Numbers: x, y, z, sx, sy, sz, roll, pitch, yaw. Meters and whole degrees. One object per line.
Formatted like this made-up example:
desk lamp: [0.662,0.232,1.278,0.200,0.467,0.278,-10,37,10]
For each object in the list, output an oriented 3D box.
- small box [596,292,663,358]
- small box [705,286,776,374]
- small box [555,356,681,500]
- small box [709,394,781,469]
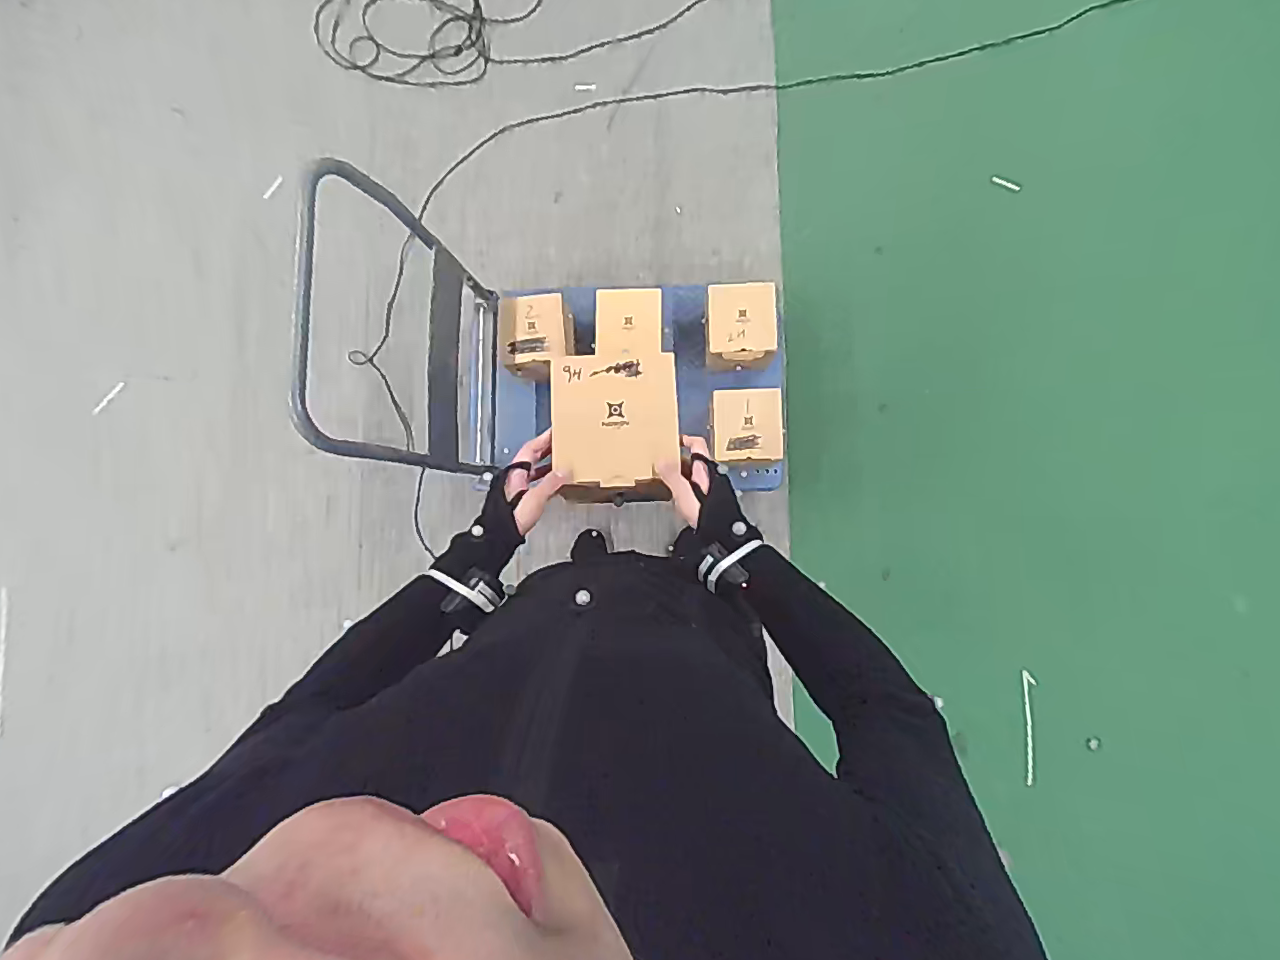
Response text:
small box: [-0.023,-0.379,1.428,0.168,0.176,0.179,0,87,3]
small box: [0.256,-0.385,1.407,0.168,0.176,0.179,-1,86,5]
small box: [-0.030,-0.064,0.780,0.168,0.176,0.179,-2,80,-2]
small box: [0.267,-0.119,1.403,0.168,0.176,0.179,-1,85,3]
